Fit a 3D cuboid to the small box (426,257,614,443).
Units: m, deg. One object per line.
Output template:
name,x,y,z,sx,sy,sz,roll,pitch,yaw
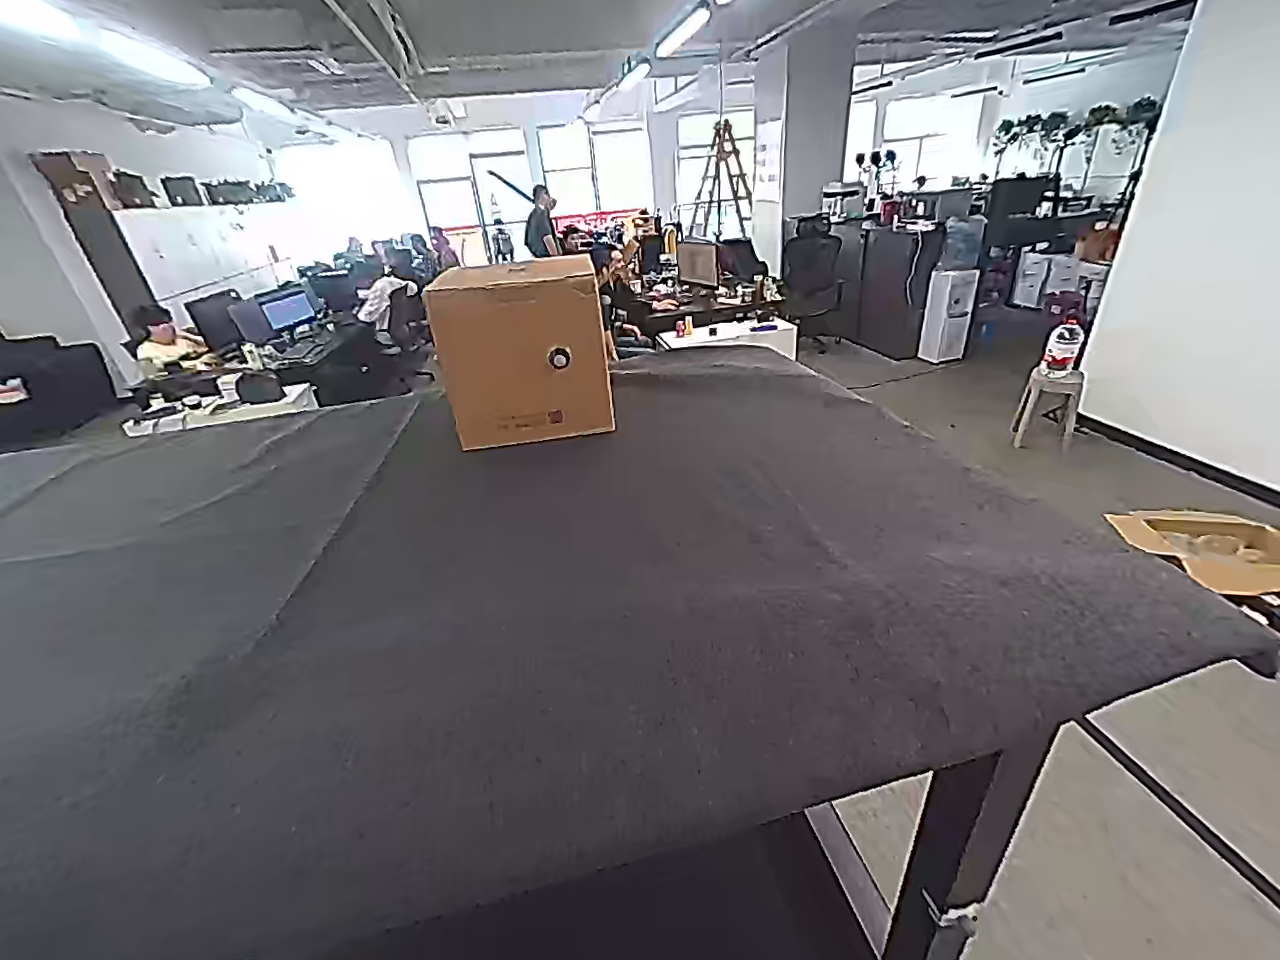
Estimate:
small box,-0.123,-0.147,0.617,0.168,0.176,0.179,-7,28,-5
